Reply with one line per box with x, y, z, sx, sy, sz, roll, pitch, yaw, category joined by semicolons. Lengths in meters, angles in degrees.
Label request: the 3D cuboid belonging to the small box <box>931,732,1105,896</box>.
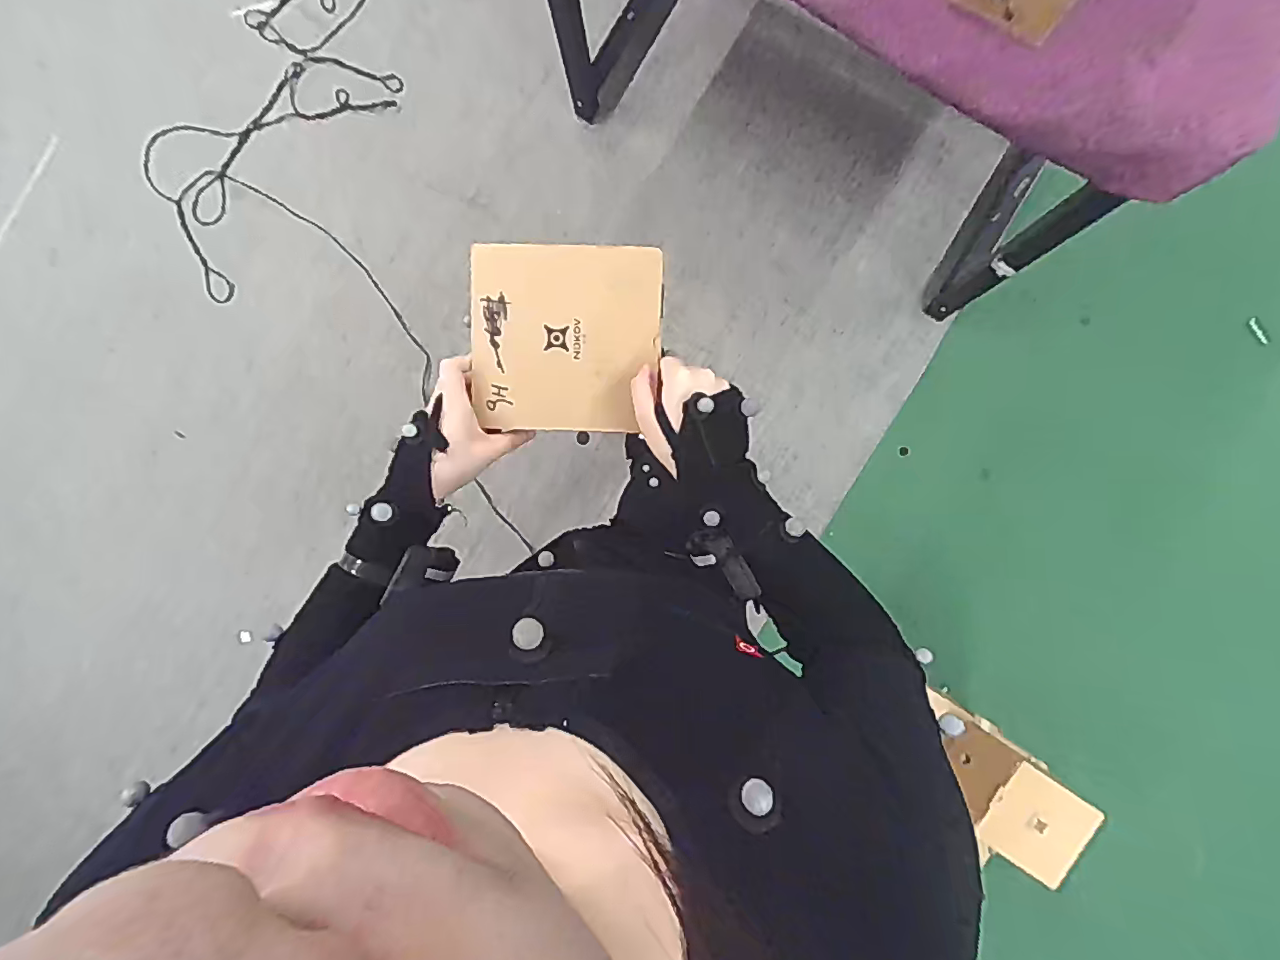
0.710;0.625;1.038;0.179;0.176;0.168;34;91;3;small box

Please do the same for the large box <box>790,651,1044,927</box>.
0.622;0.692;1.284;0.320;0.320;0.408;33;91;4;large box

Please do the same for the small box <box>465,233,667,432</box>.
-0.067;-0.138;0.557;0.179;0.176;0.168;2;96;0;small box

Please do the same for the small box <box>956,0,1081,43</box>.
0.527;-0.714;0.669;0.168;0.176;0.179;32;90;4;small box
